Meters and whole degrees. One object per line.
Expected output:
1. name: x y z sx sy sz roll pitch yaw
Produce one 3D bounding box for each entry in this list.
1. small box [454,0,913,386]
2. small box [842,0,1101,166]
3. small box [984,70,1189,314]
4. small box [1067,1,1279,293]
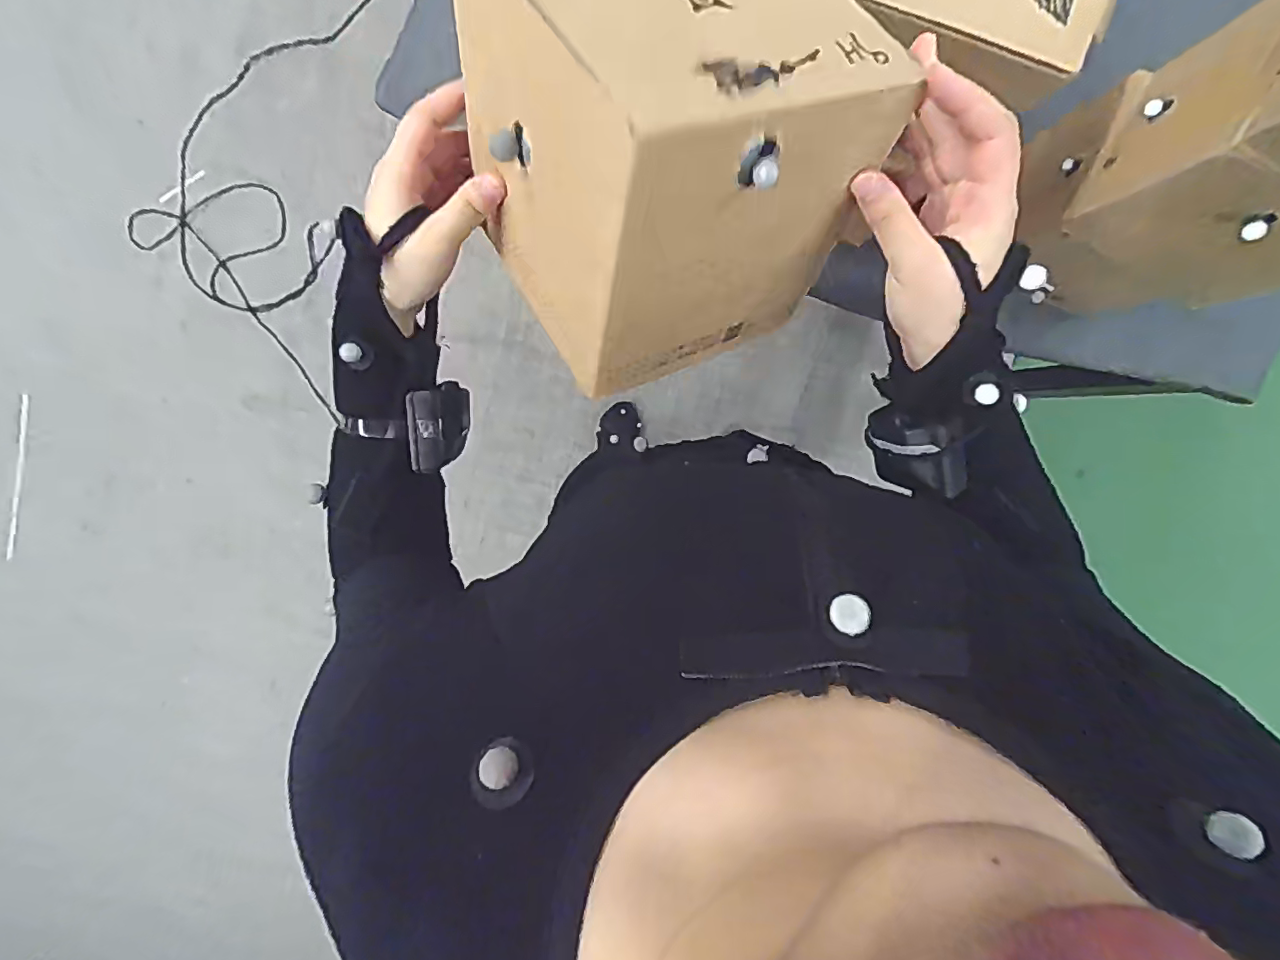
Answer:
1. small box: 0.004 -0.189 0.320 0.168 0.176 0.179 -27 73 -20
2. small box: 0.248 -0.398 0.451 0.179 0.176 0.168 17 96 -2
3. small box: 0.547 -0.314 0.631 0.168 0.176 0.179 17 96 -2
4. small box: 0.544 -0.283 0.471 0.179 0.176 0.168 28 95 -2
